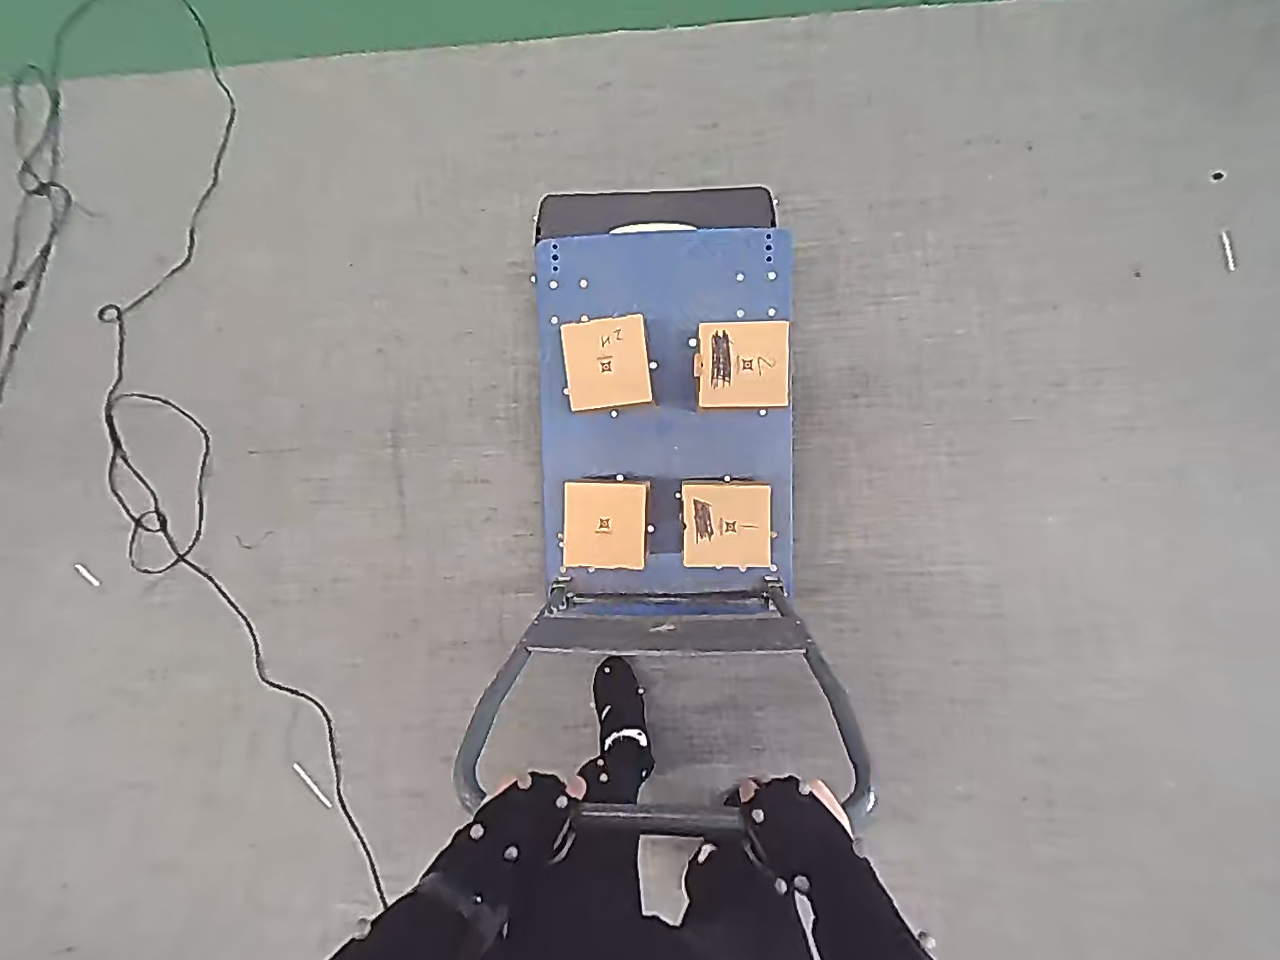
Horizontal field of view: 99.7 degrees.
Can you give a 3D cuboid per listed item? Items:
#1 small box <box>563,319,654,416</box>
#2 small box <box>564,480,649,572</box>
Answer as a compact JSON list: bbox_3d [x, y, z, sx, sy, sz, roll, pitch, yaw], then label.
[{"bbox_3d":[-0.060,-0.229,1.149,0.168,0.176,0.179,-6,93,3],"label":"small box"},{"bbox_3d":[-0.067,0.092,1.168,0.168,0.176,0.179,2,94,3],"label":"small box"}]
